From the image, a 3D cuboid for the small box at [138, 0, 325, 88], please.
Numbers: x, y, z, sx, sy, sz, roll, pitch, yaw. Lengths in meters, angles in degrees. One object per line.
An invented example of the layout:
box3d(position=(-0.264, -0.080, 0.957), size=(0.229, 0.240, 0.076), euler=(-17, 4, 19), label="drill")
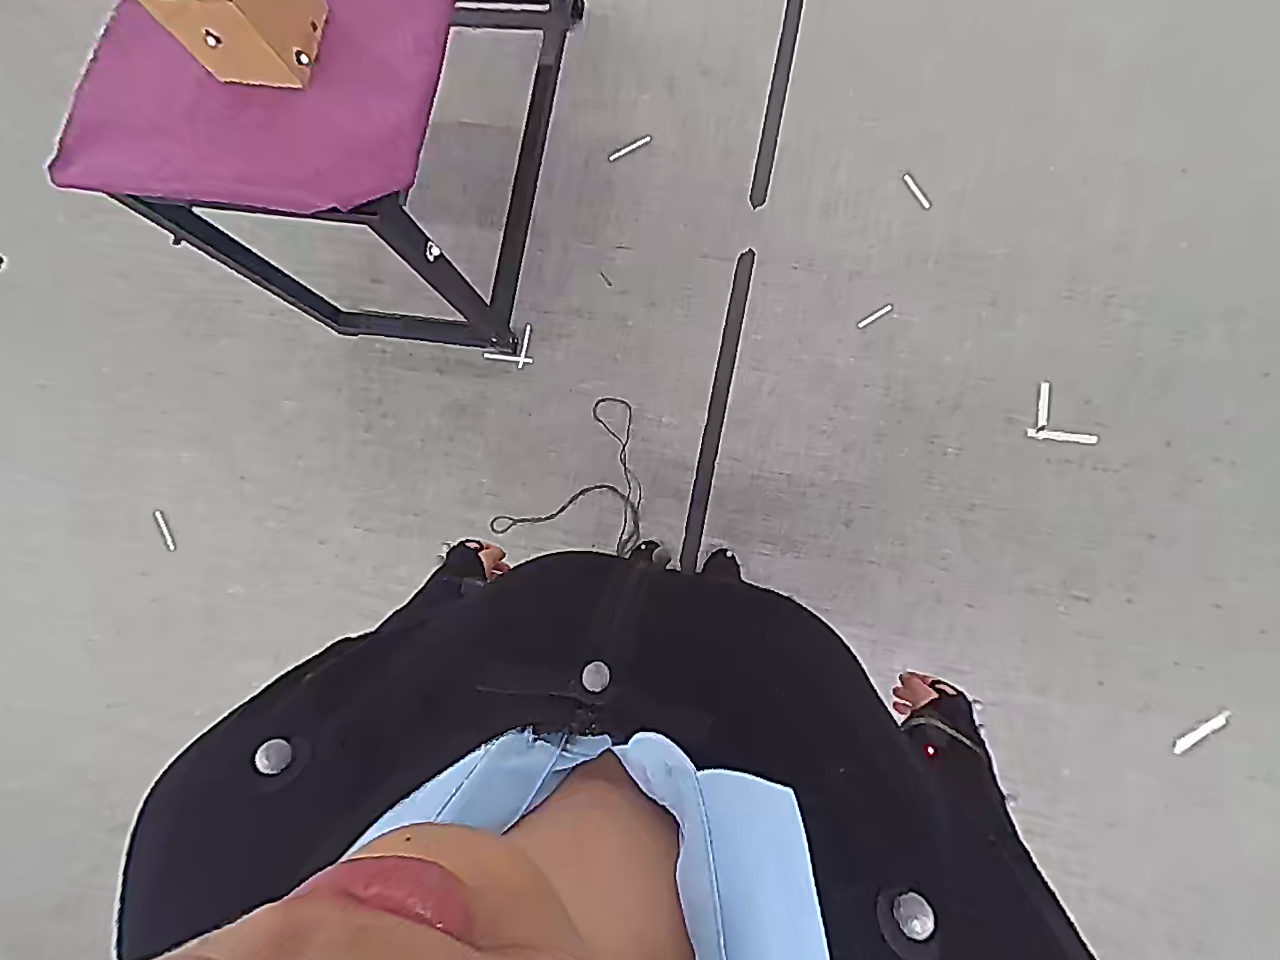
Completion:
box3d(position=(-0.659, -0.784, 0.884), size=(0.179, 0.176, 0.168), euler=(10, 83, 7), label="small box")
